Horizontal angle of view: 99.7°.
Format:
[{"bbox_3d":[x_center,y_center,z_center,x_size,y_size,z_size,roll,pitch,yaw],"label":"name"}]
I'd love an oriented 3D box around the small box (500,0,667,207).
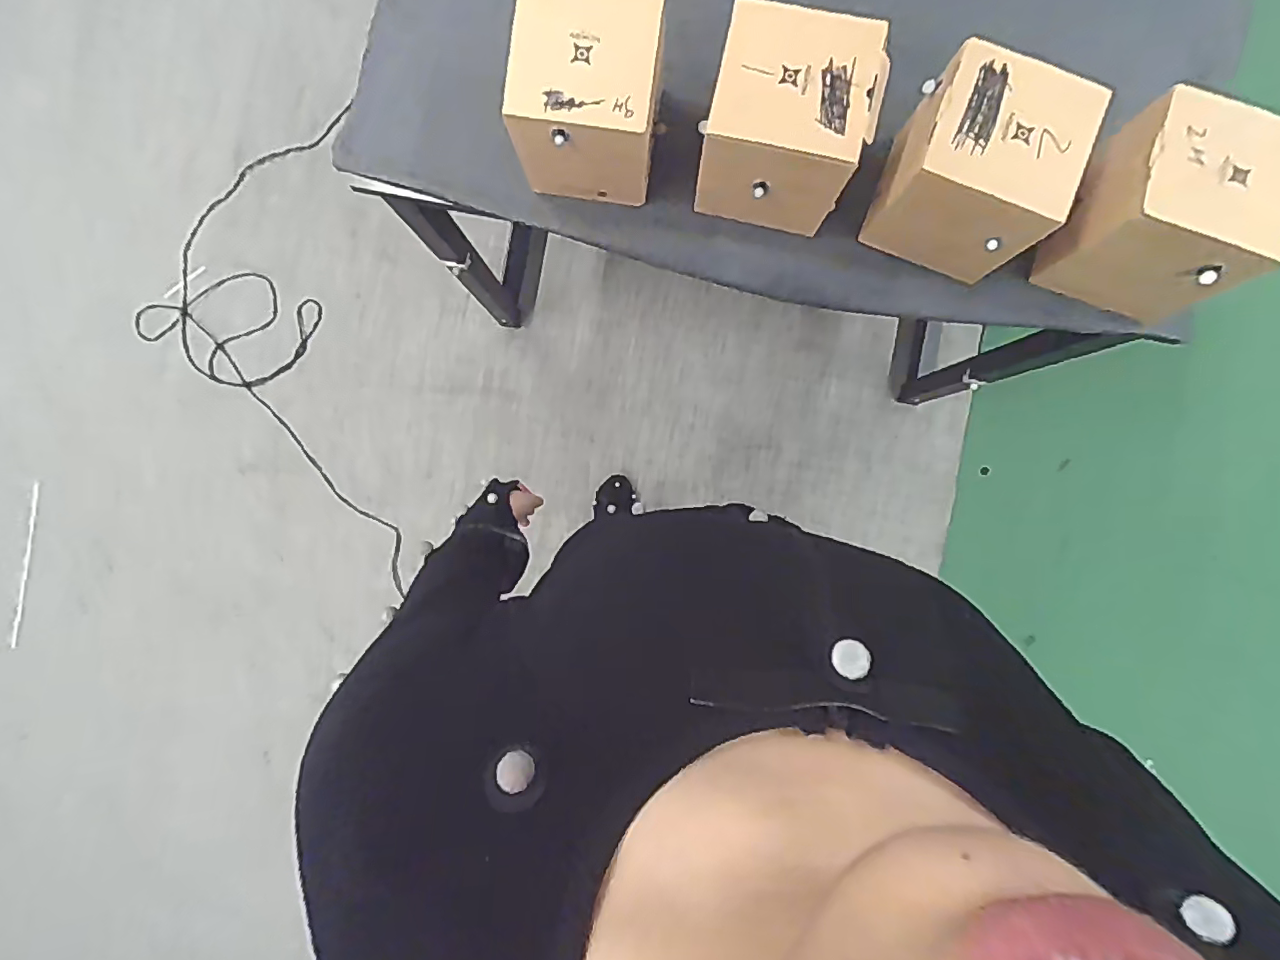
[{"bbox_3d":[-0.063,-0.483,0.685,0.168,0.176,0.179,9,90,2],"label":"small box"}]
